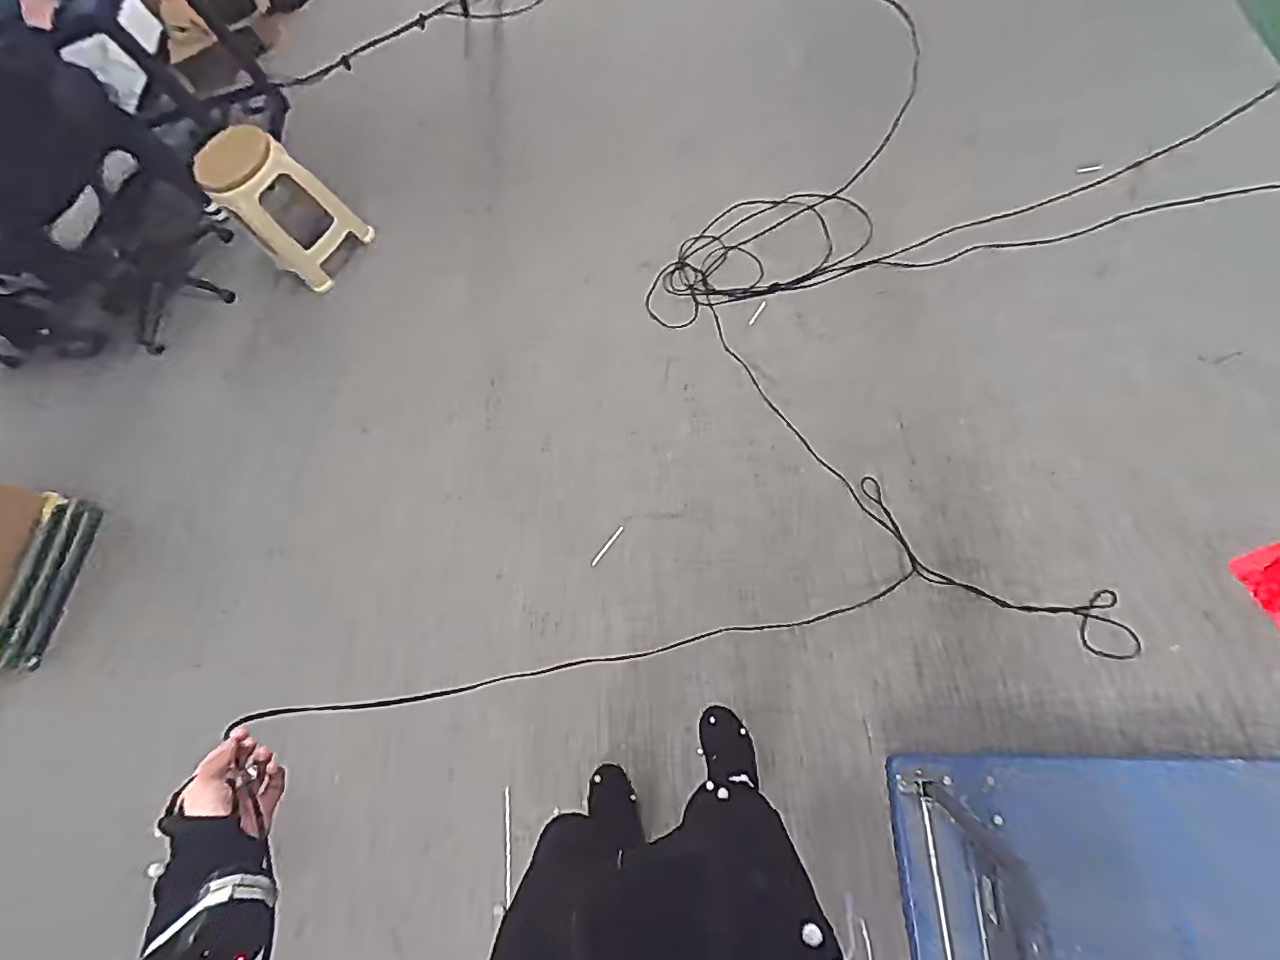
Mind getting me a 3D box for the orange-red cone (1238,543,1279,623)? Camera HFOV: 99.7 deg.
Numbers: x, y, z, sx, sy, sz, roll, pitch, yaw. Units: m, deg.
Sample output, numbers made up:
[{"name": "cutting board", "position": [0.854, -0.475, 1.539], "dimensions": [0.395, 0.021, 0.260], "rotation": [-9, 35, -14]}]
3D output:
[{"name": "orange-red cone", "position": [1.451, 0.177, 1.049], "dimensions": [0.198, 0.360, 0.199], "rotation": [-21, 66, 4]}]
